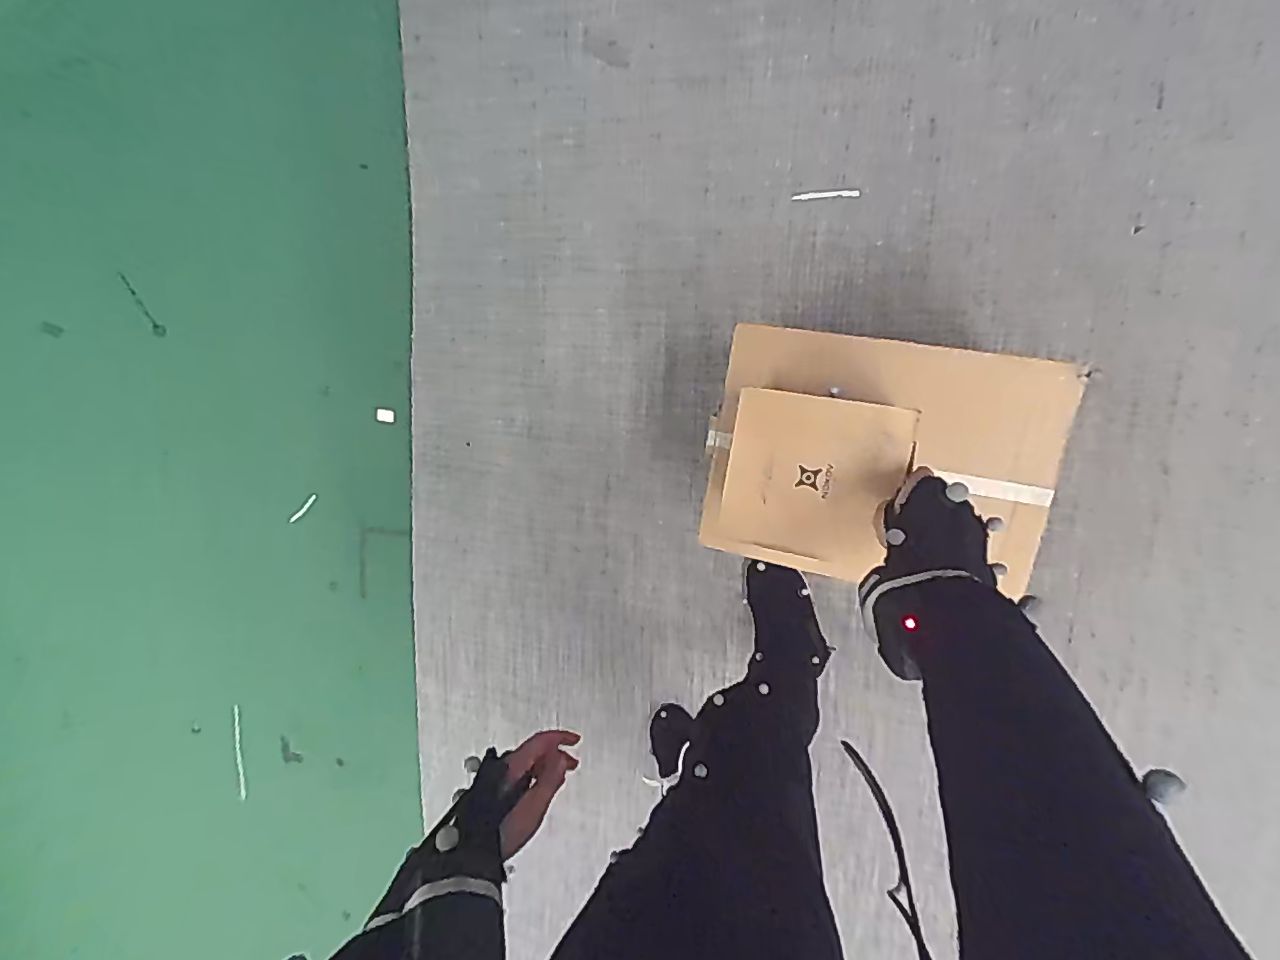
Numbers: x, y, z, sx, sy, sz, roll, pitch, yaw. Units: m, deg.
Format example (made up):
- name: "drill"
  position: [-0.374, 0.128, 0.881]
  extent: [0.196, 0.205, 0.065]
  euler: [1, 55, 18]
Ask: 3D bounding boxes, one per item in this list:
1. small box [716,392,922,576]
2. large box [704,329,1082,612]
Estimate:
- name: "small box"
  position: [0.198, -0.007, 0.622]
  extent: [0.179, 0.176, 0.168]
  euler: [11, 99, 17]
- name: "large box"
  position: [0.336, -0.036, 0.832]
  extent: [0.408, 0.320, 0.320]
  euler: [11, 101, 15]
